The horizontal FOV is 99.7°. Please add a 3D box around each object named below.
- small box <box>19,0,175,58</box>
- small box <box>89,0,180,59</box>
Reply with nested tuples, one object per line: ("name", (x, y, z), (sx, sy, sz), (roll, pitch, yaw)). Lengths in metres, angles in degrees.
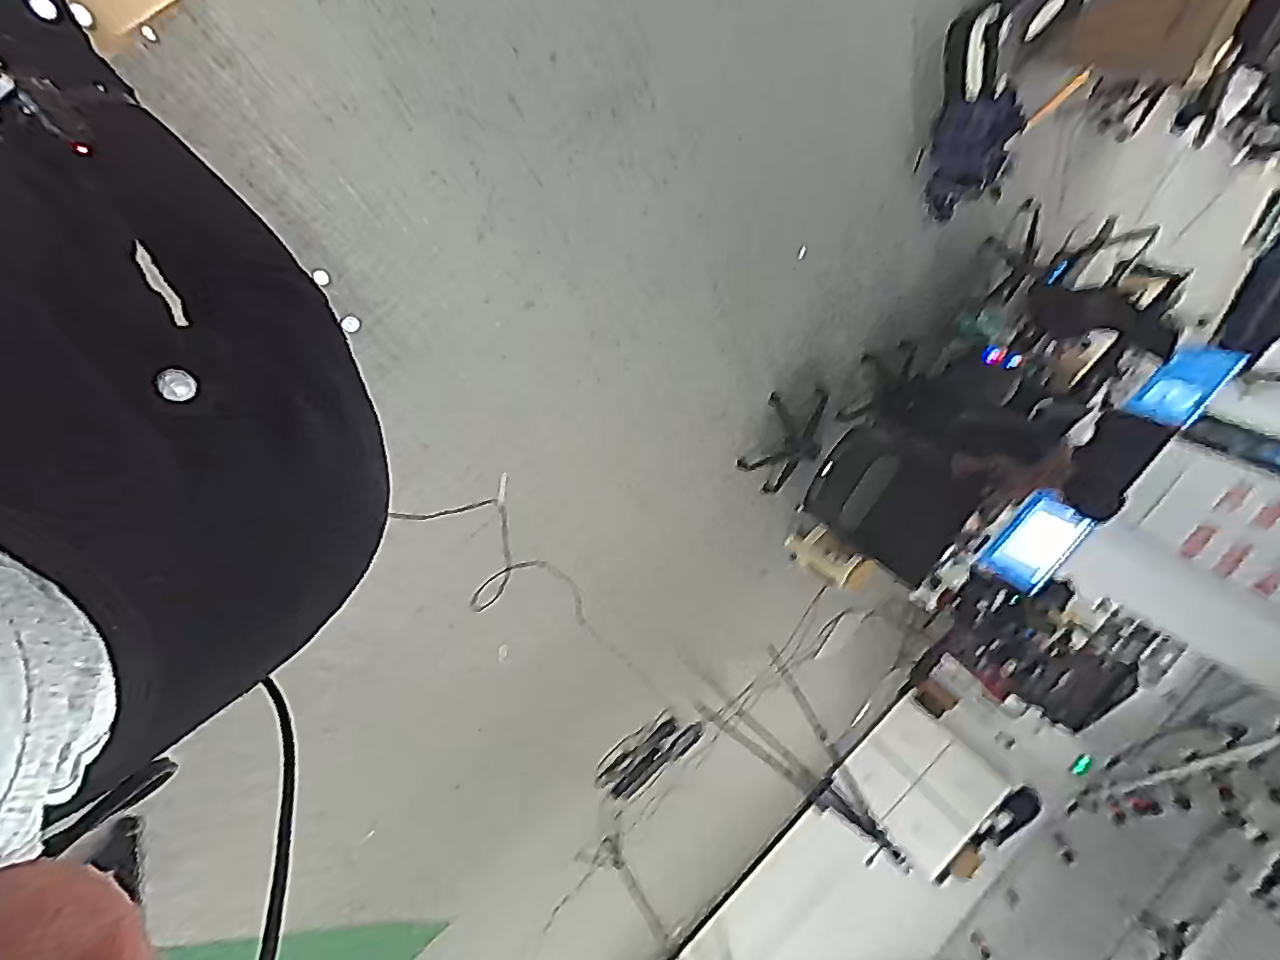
("small box", (-0.783, -0.718, 0.744), (0.179, 0.176, 0.168), (-44, 142, -8))
("small box", (-0.874, -0.804, 0.847), (0.179, 0.176, 0.168), (-43, 140, -6))
